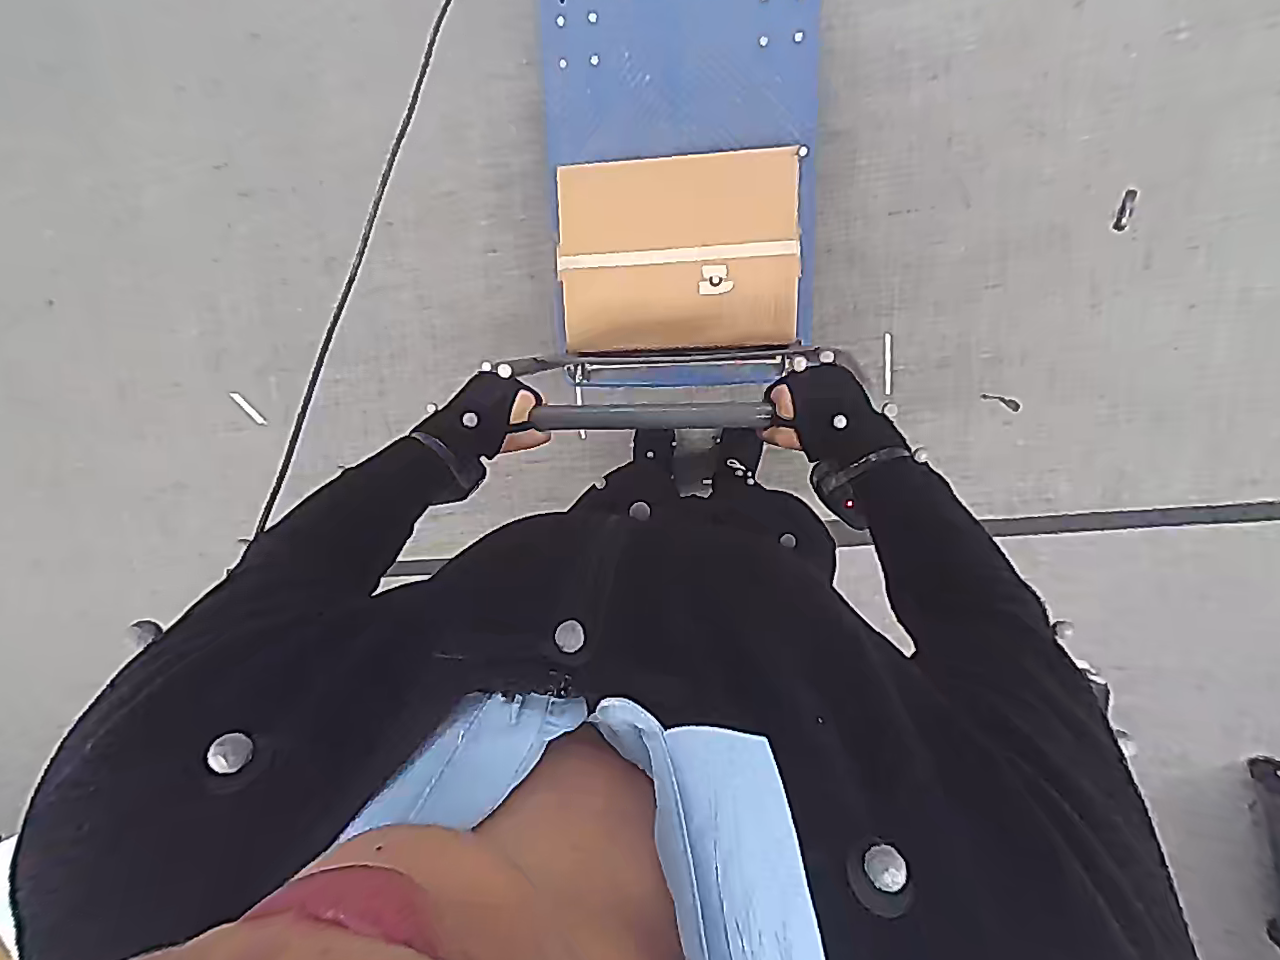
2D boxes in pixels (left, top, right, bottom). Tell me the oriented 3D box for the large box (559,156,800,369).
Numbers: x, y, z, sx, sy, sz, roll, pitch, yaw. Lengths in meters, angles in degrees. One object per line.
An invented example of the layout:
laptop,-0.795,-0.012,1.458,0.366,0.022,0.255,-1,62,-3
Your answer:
large box,0.081,-0.389,1.058,0.408,0.320,0.320,-1,101,7
